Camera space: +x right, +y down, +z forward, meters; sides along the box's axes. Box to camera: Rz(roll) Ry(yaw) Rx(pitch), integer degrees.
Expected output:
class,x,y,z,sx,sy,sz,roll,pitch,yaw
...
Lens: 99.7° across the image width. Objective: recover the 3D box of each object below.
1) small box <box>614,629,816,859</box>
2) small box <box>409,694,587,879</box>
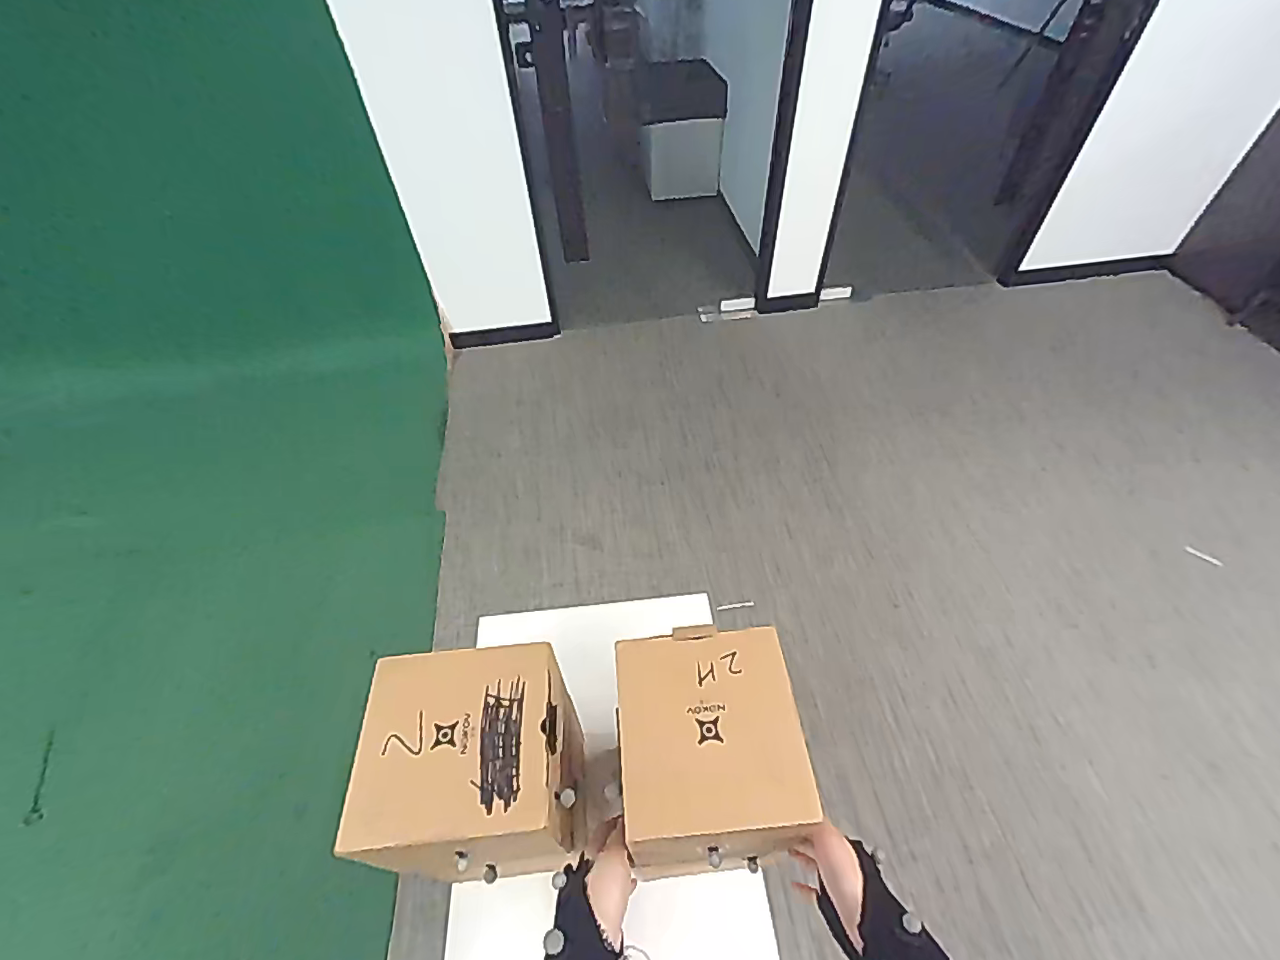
class,x,y,z,sx,sy,sz,roll,pitch,yaw
small box,0.063,0.275,0.556,0.168,0.176,0.179,-5,49,-2
small box,-0.164,0.390,0.684,0.179,0.176,0.168,-5,50,-4
